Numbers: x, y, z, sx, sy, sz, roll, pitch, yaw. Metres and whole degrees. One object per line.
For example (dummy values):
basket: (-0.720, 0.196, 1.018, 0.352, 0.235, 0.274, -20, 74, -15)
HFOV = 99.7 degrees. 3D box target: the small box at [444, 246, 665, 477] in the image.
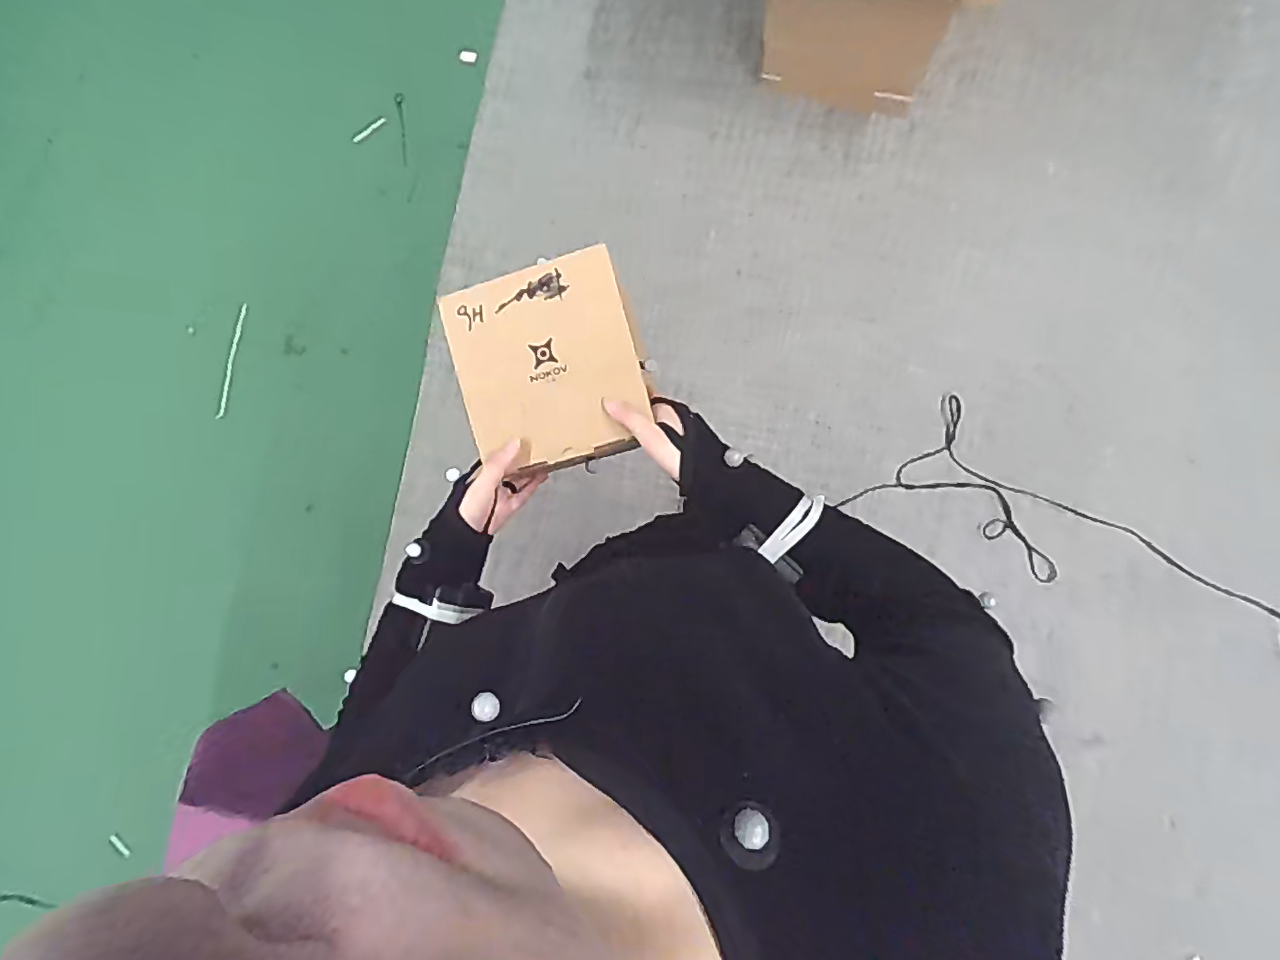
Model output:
small box: (-0.073, -0.111, 0.568, 0.168, 0.176, 0.179, -15, 92, 6)
